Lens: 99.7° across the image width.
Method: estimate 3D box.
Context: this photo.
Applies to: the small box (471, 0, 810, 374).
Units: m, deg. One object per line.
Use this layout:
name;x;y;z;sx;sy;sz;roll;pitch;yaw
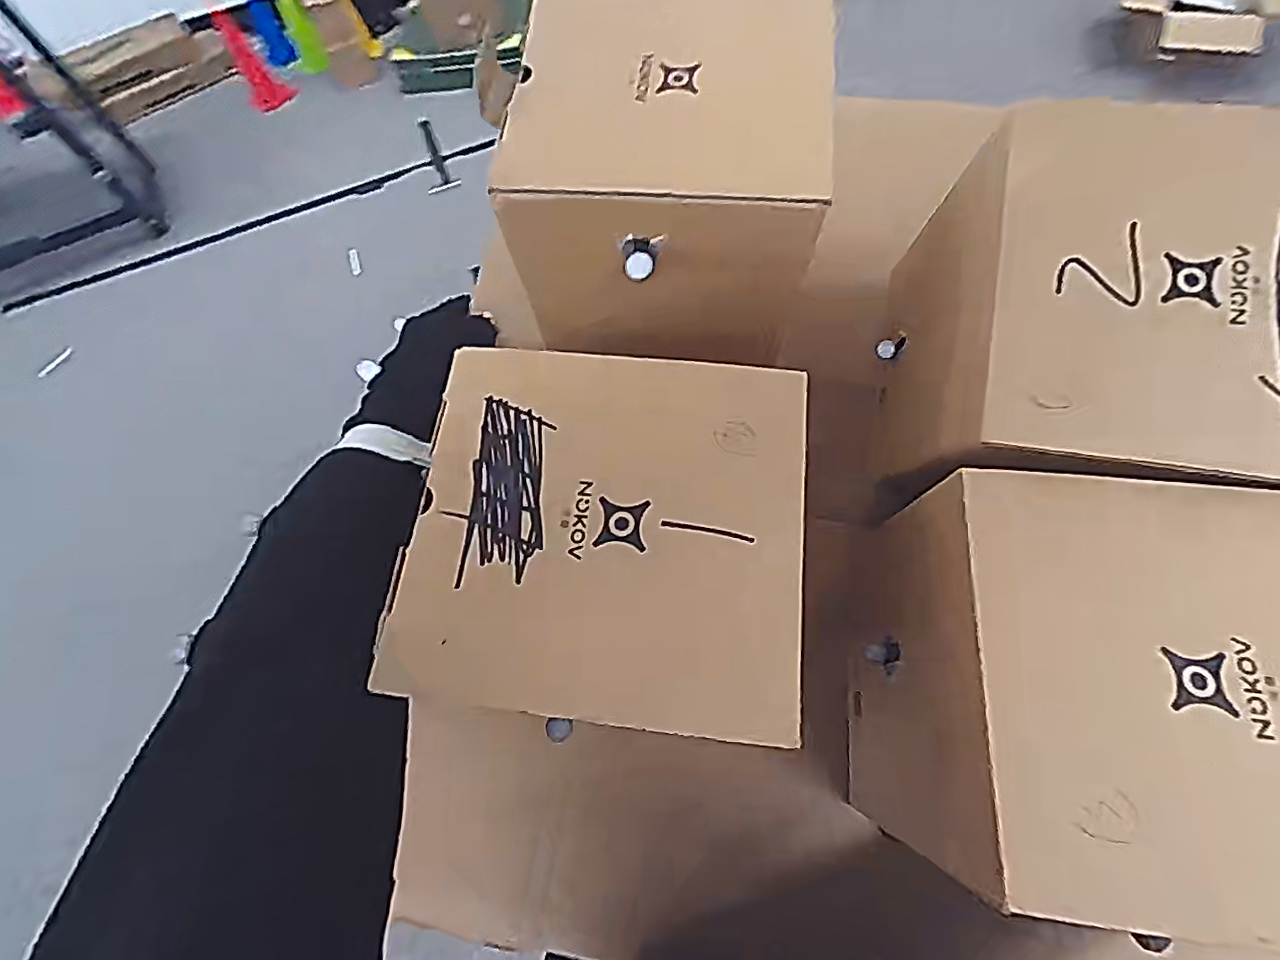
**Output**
small box;0.010;-0.186;0.374;0.179;0.176;0.168;4;72;6
